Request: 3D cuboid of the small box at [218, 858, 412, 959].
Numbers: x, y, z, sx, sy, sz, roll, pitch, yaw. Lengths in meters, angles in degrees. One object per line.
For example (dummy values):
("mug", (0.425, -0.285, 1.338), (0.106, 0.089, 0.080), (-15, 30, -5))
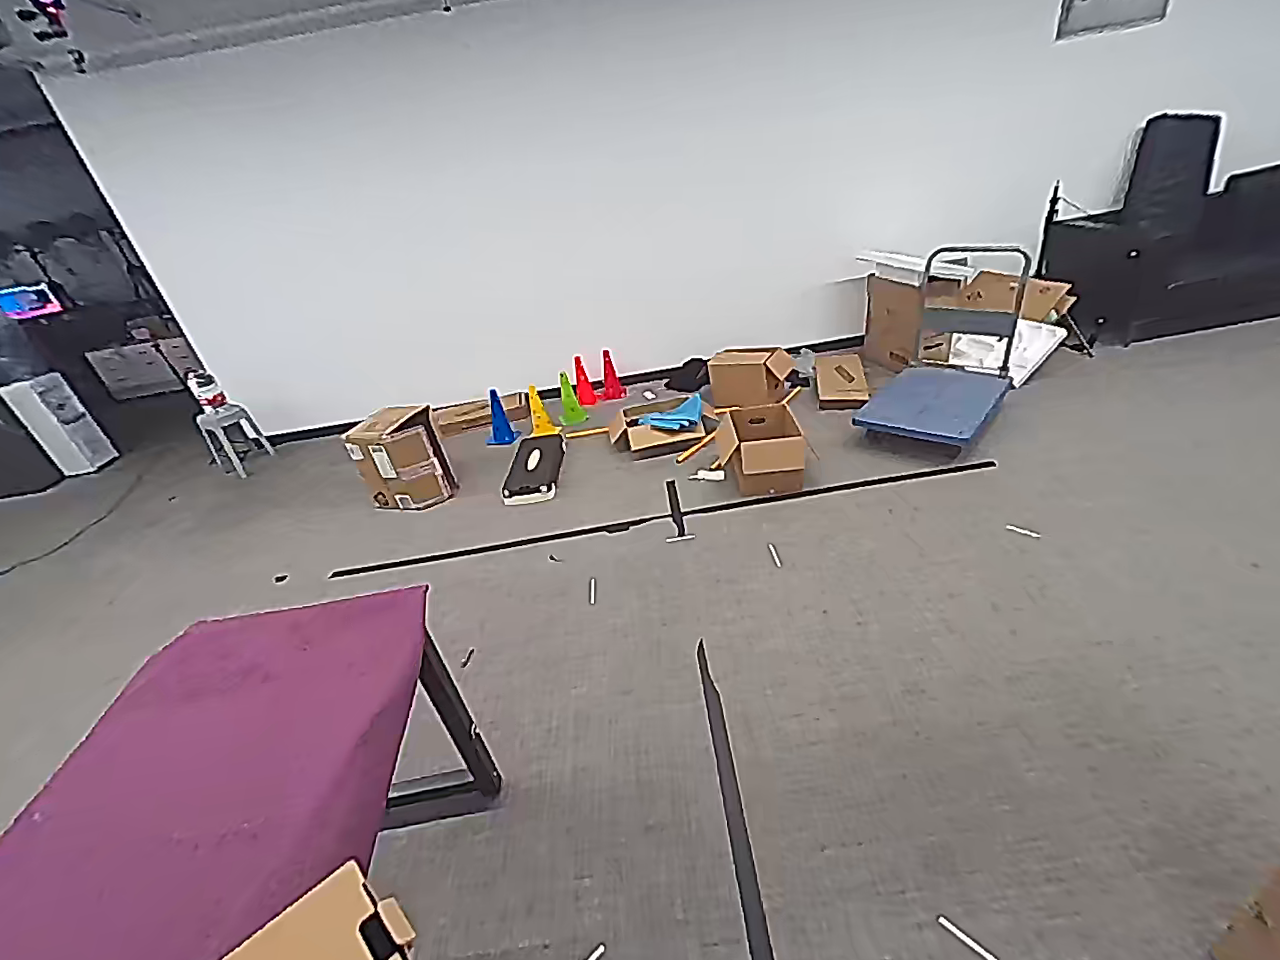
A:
("small box", (-0.282, 0.497, 0.467), (0.168, 0.176, 0.179), (27, 39, 37))
